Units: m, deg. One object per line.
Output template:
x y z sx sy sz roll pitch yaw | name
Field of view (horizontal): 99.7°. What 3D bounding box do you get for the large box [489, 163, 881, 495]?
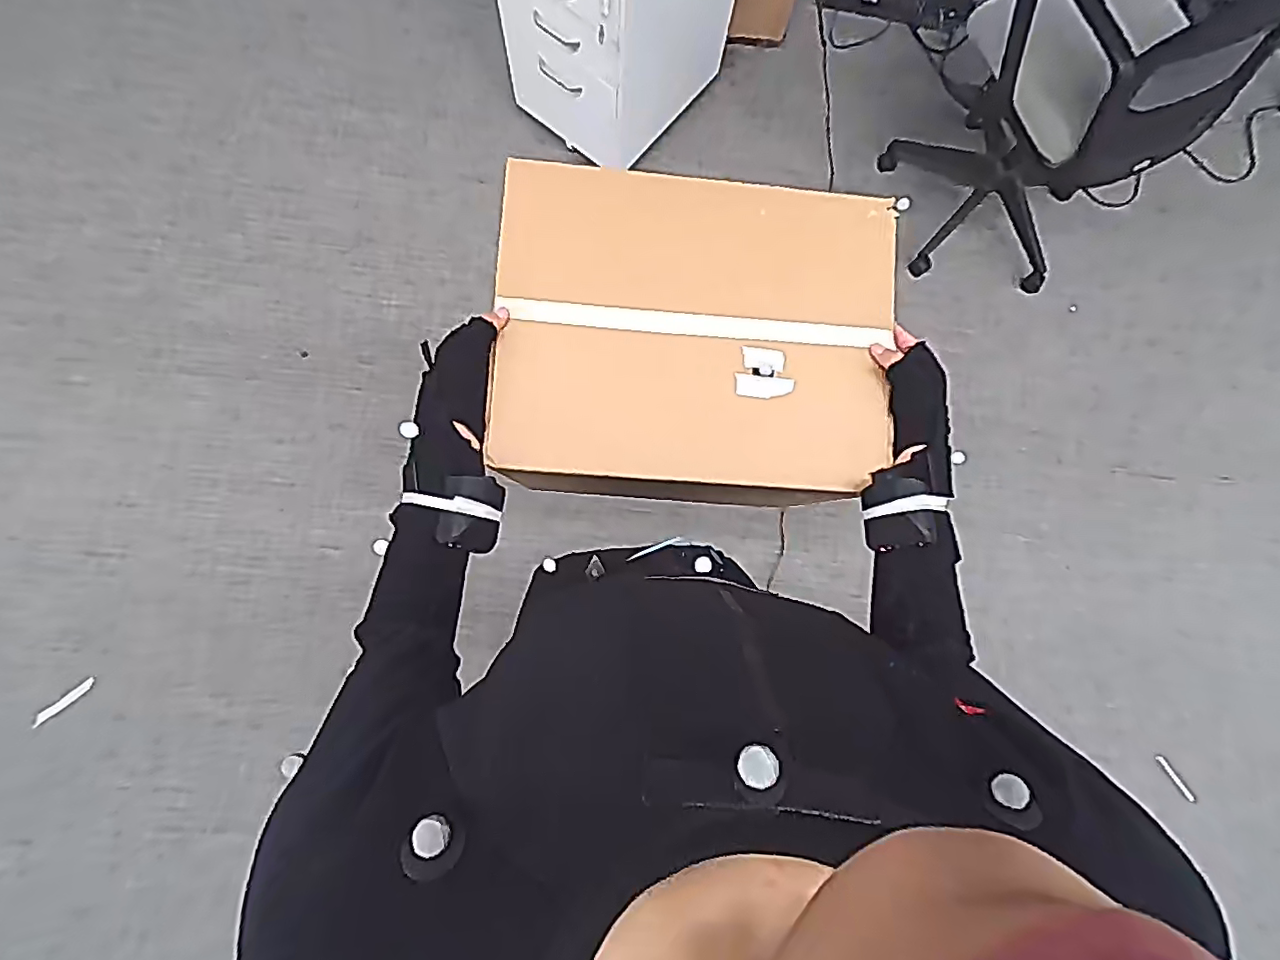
0.041 -0.151 0.704 0.408 0.320 0.320 4 86 -5 | large box
